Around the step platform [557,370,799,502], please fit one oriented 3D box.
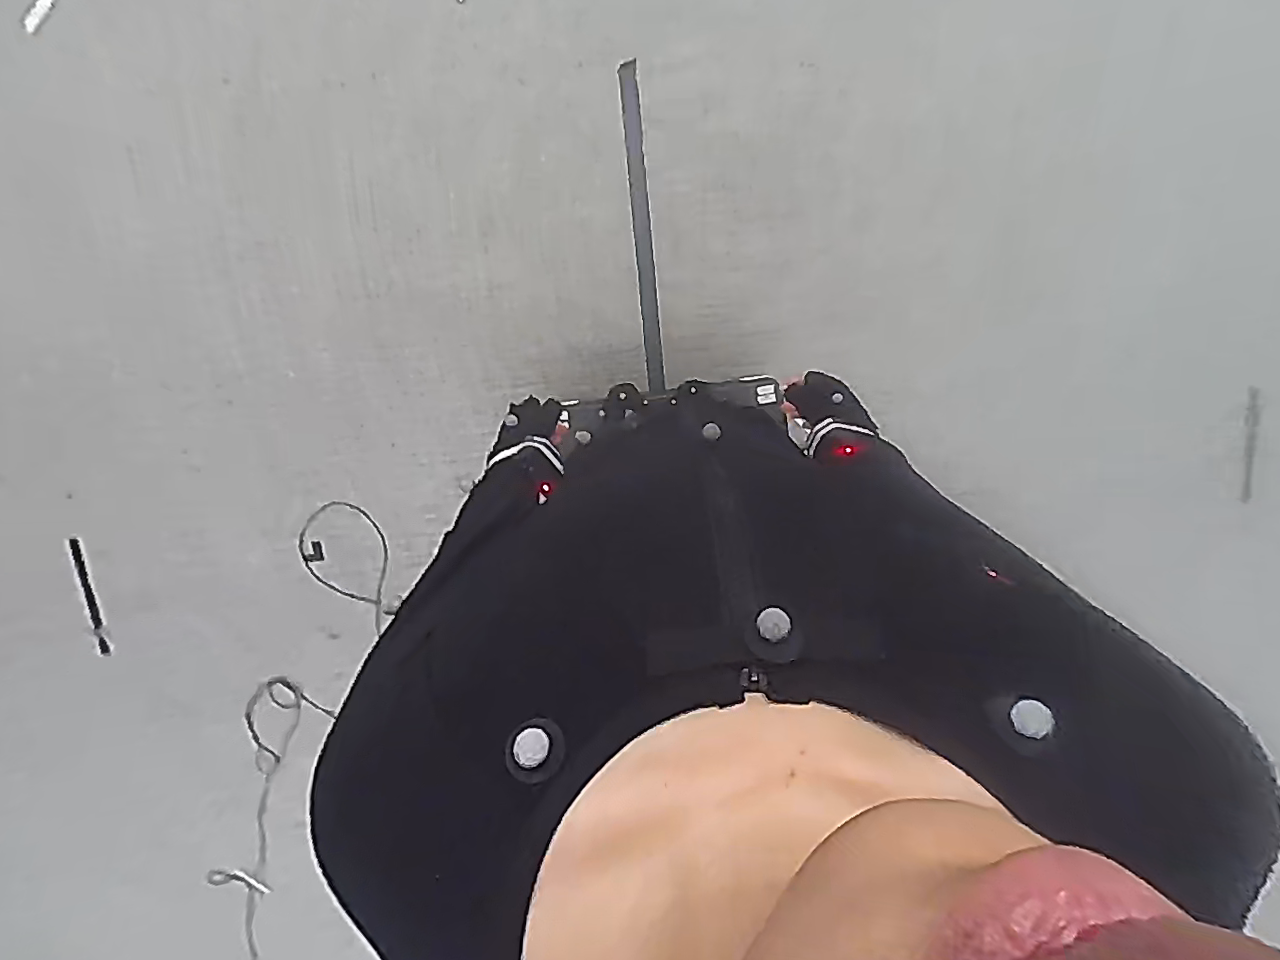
[{"bbox_3d":[0.106,-0.129,1.561,0.684,0.204,0.286,-9,101,-1],"label":"step platform"}]
